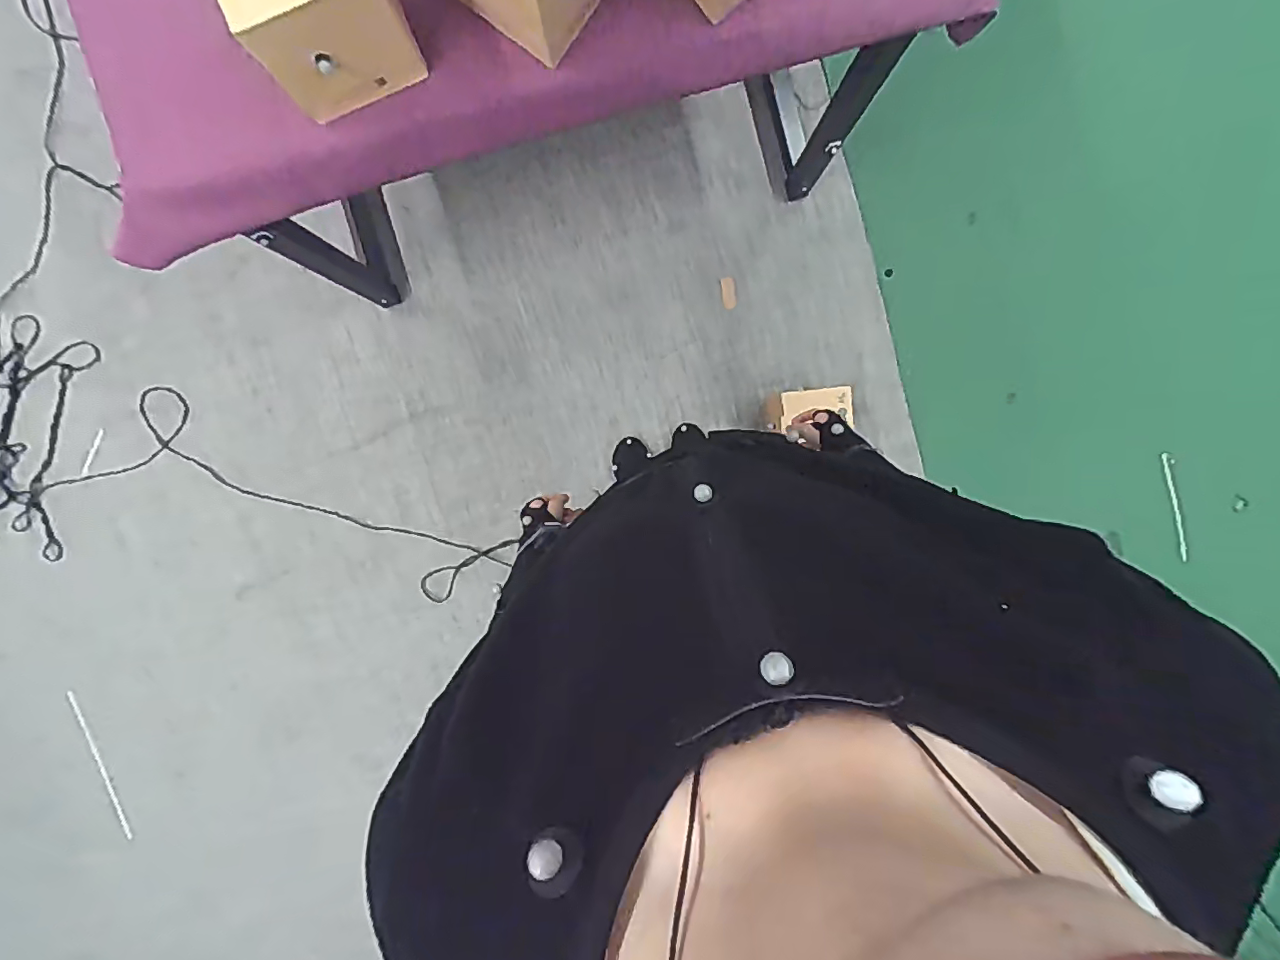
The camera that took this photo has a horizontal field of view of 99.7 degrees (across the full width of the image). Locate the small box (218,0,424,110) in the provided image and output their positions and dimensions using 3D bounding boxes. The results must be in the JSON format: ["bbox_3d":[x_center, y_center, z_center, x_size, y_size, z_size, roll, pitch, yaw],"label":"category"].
[{"bbox_3d":[-0.392,-0.591,0.650,0.168,0.176,0.179,-23,92,1],"label":"small box"}]

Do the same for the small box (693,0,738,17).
[{"bbox_3d":[0.115,-0.728,0.642,0.179,0.176,0.168,-38,91,3],"label":"small box"}]

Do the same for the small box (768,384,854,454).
[{"bbox_3d":[0.438,-0.155,1.416,0.179,0.176,0.168,-5,95,1],"label":"small box"}]

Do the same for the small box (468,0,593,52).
[{"bbox_3d":[-0.139,-0.669,0.644,0.179,0.176,0.168,36,93,-2],"label":"small box"}]
